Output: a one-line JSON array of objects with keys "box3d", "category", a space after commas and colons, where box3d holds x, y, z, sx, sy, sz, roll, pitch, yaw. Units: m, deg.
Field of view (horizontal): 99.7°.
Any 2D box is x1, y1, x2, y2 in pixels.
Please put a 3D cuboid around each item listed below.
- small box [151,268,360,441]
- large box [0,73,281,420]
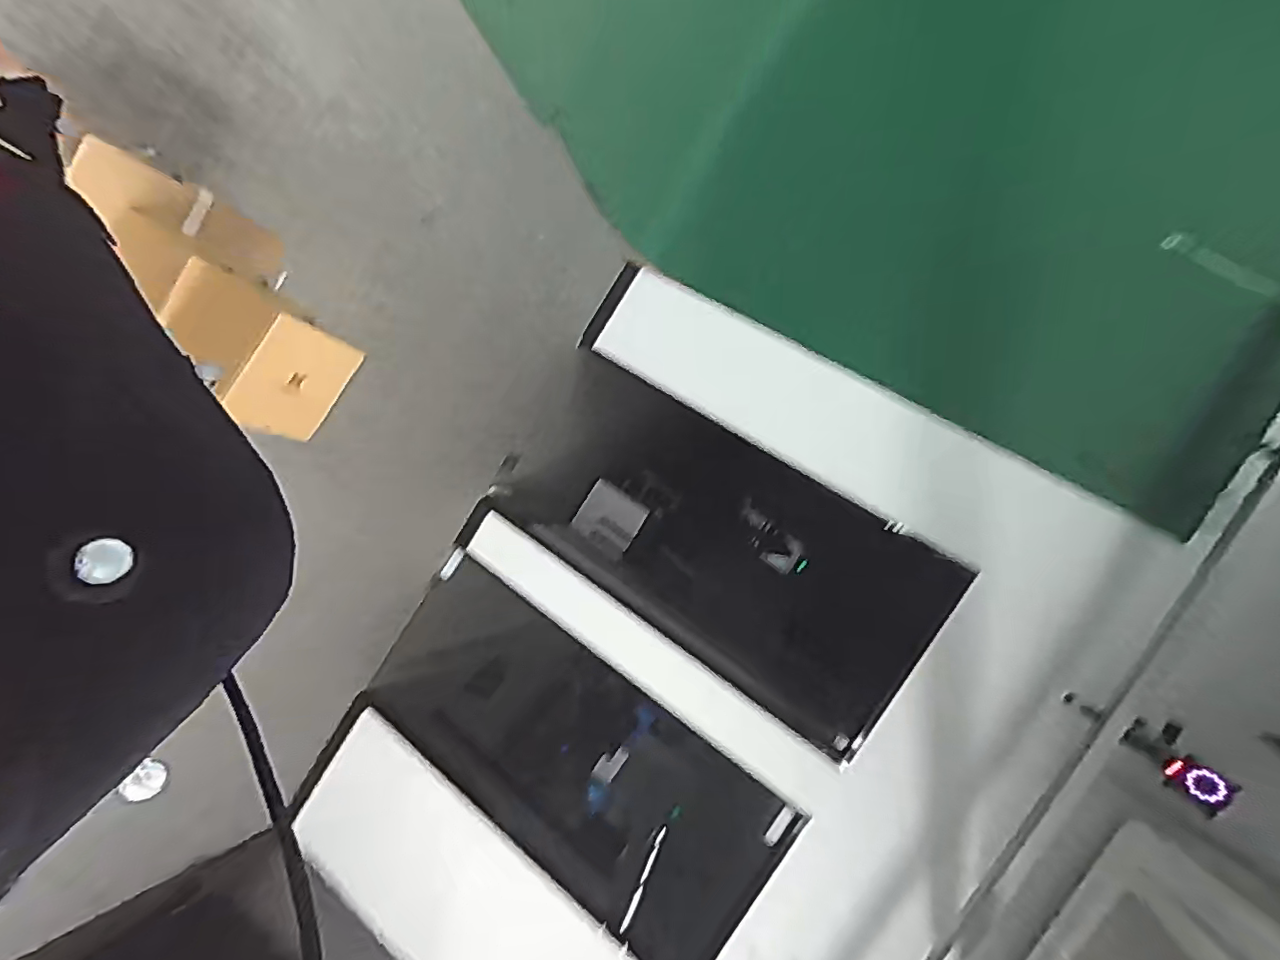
[{"box3d": [-0.589, -0.190, 0.834, 0.179, 0.176, 0.168, -56, 165, 0], "category": "small box"}, {"box3d": [-0.941, -0.374, 0.934, 0.408, 0.320, 0.320, -57, 164, 4], "category": "large box"}]
